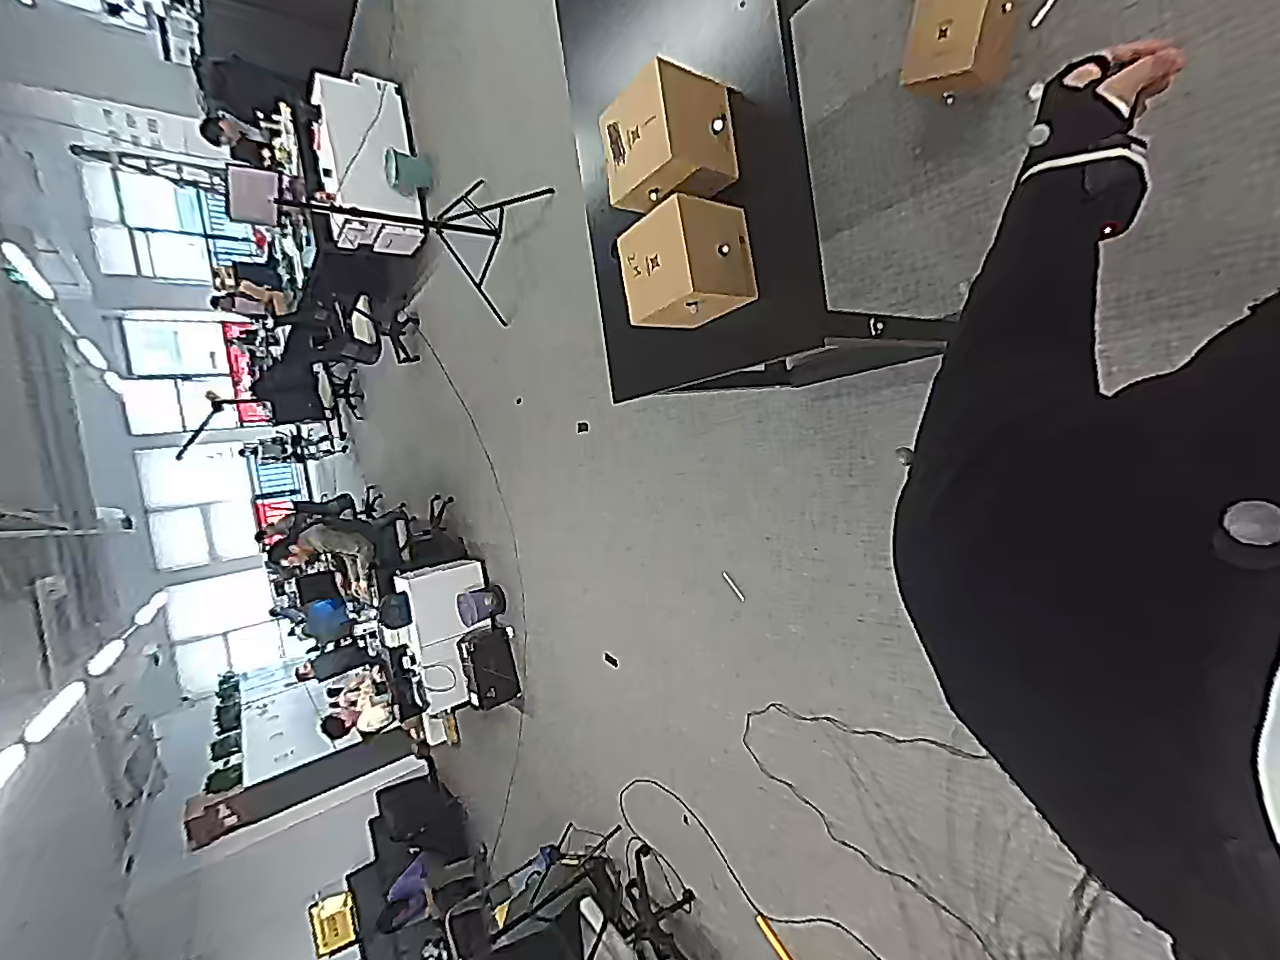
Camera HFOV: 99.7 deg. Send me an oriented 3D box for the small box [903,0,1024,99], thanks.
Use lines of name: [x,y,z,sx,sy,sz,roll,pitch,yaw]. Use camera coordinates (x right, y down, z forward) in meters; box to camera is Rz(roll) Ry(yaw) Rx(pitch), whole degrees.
small box: [0.732,-0.996,1.220,0.168,0.176,0.179,27,120,47]

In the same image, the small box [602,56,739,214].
small box: [0.055,-0.610,0.986,0.179,0.176,0.168,-5,95,53]
